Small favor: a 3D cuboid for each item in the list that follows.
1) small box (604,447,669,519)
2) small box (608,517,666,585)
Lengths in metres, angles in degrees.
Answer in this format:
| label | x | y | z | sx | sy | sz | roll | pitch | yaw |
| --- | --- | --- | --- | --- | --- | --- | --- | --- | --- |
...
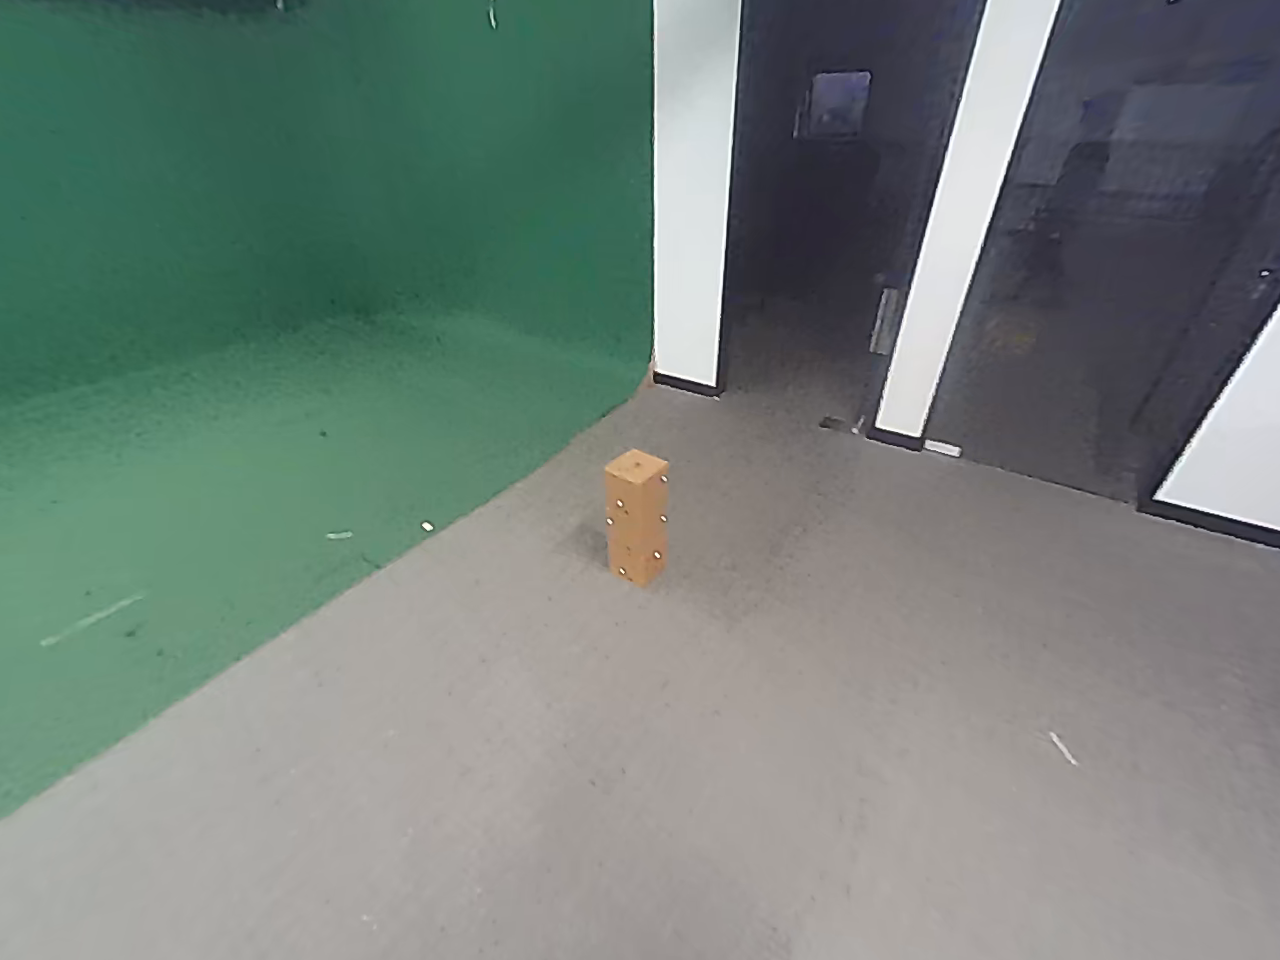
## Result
| label | x | y | z | sx | sy | sz | roll | pitch | yaw |
| --- | --- | --- | --- | --- | --- | --- | --- | --- | --- |
| small box | -0.014 | 0.010 | 1.951 | 0.168 | 0.176 | 0.179 | 24 | 42 | 31 |
| small box | -0.013 | 0.281 | 2.137 | 0.168 | 0.176 | 0.179 | 22 | 41 | 28 |
